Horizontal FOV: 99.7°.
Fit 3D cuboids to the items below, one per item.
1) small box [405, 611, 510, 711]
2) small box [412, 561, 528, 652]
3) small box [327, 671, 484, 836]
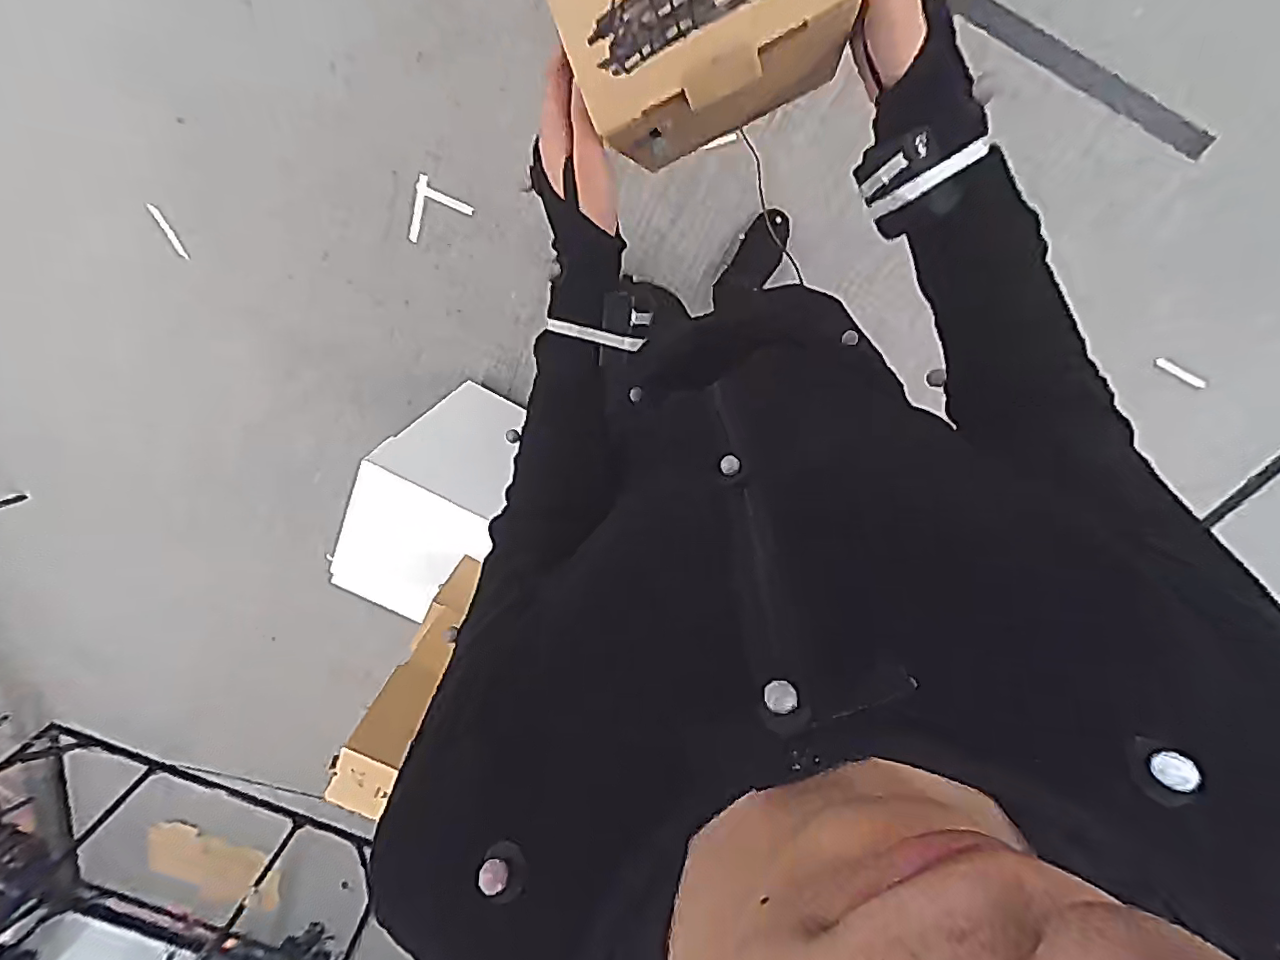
[{"bbox_3d":[-0.381,0.397,1.083,0.168,0.176,0.179,30,118,-8],"label":"small box"},{"bbox_3d":[-0.376,0.313,1.224,0.179,0.176,0.168,29,118,-6],"label":"small box"},{"bbox_3d":[-0.394,0.464,0.933,0.179,0.176,0.168,28,118,-7],"label":"small box"}]
